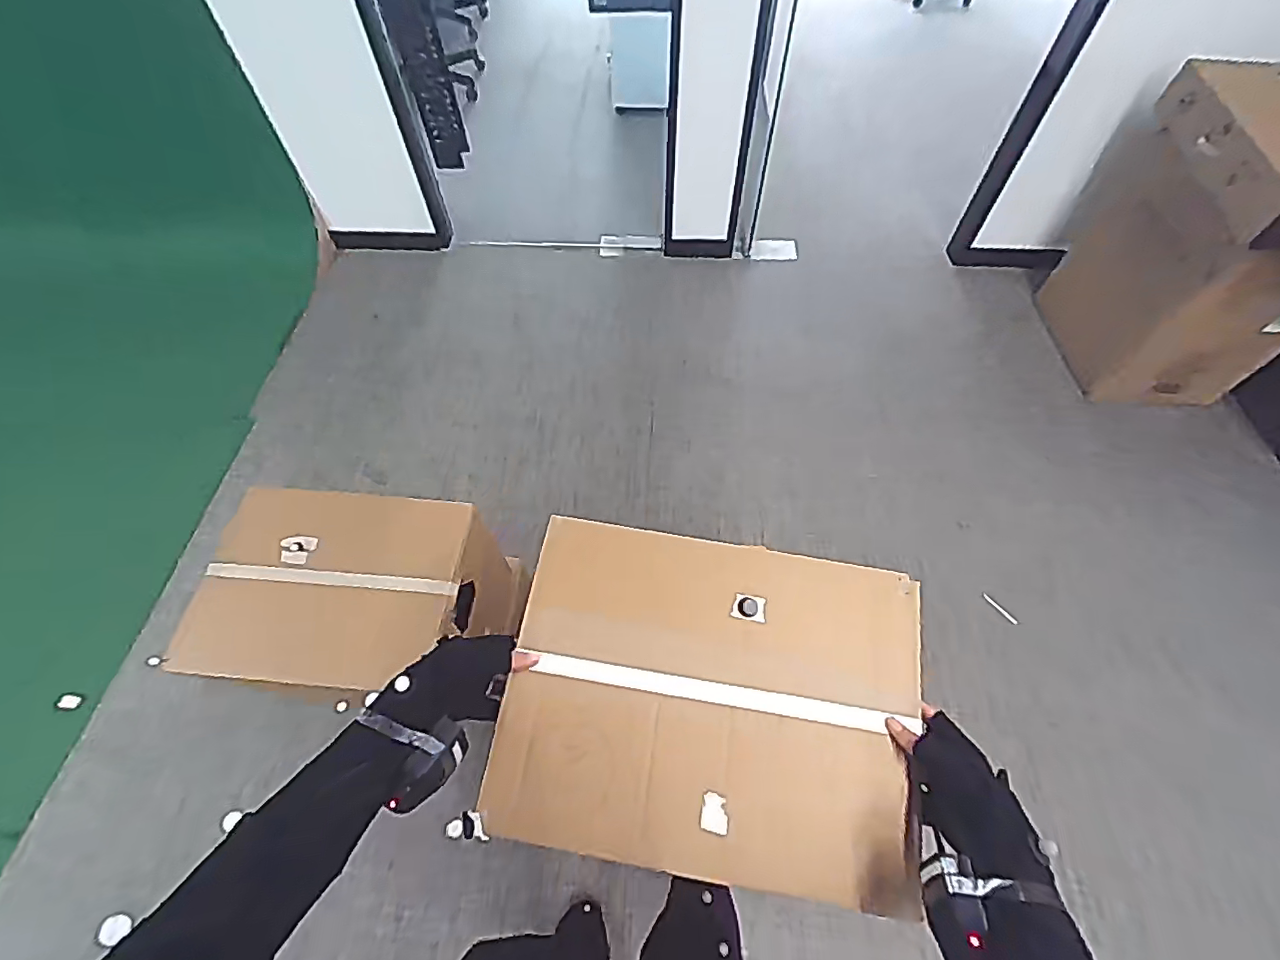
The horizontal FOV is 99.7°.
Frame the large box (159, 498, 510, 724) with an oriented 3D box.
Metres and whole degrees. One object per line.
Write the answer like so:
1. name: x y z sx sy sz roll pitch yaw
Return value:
1. large box: -0.490 0.247 0.980 0.408 0.320 0.320 4 59 5
